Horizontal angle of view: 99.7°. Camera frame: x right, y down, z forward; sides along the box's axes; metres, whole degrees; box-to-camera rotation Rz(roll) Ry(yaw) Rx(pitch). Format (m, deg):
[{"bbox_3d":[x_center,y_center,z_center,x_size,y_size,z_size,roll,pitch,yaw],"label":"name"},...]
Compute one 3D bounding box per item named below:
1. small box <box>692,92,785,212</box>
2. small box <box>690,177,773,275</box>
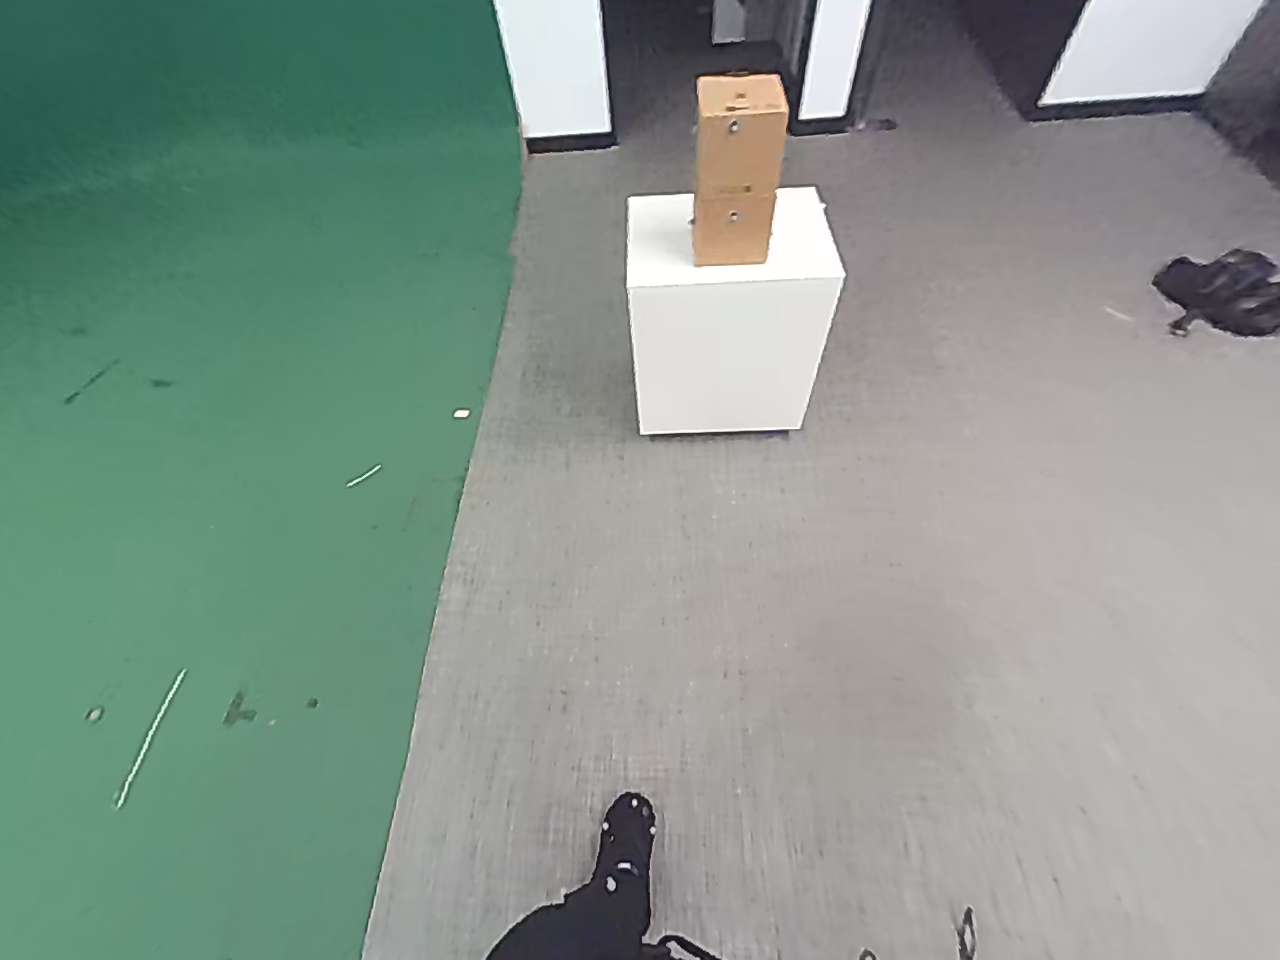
[{"bbox_3d":[0.203,-0.705,1.166,0.168,0.176,0.179,-3,56,1],"label":"small box"},{"bbox_3d":[0.211,-0.610,1.296,0.179,0.176,0.168,-2,56,2],"label":"small box"}]
